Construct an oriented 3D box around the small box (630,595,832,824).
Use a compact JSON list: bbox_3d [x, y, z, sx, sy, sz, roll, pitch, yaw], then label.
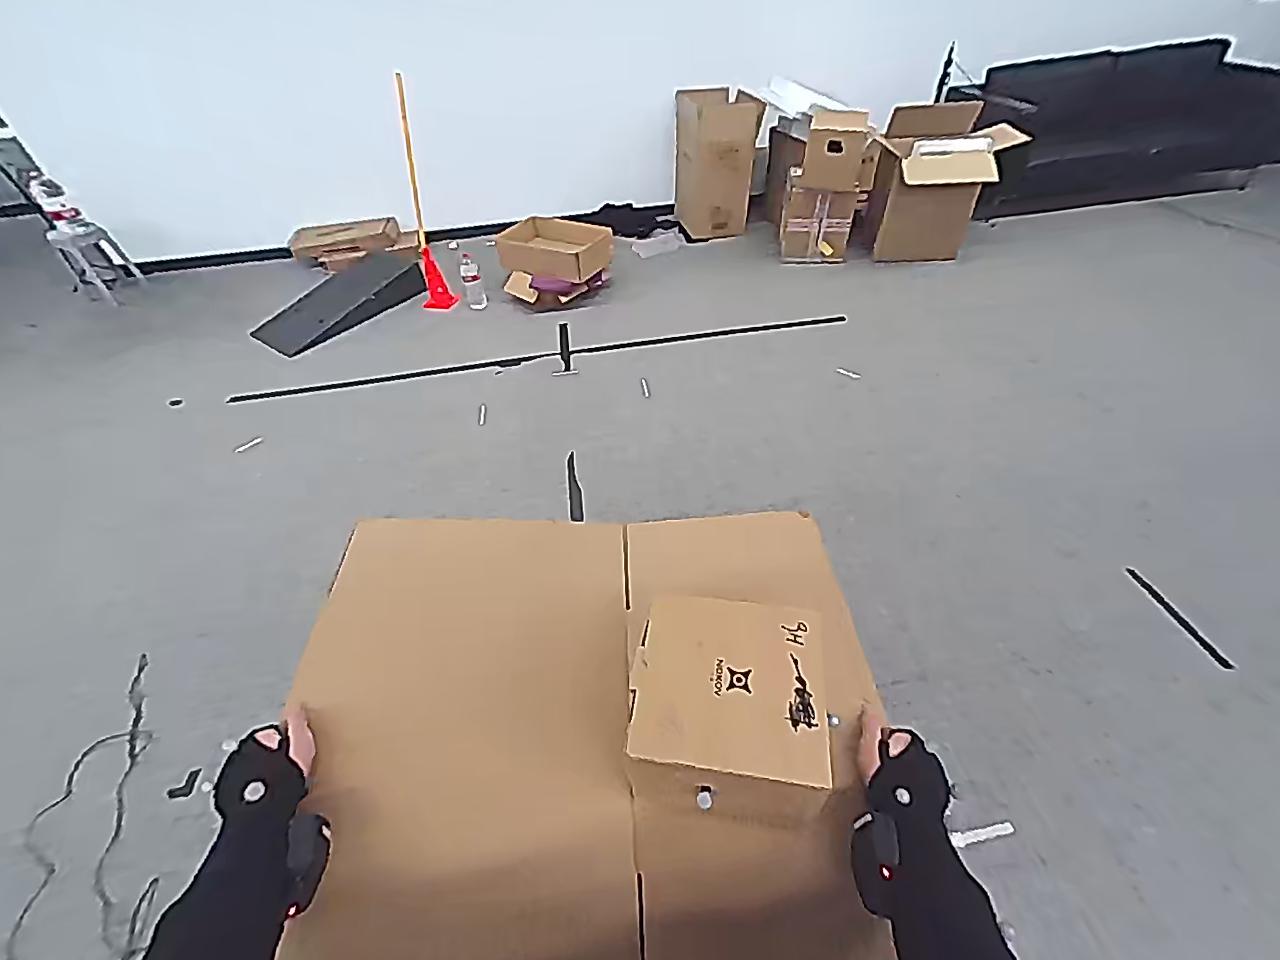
[{"bbox_3d":[0.097,0.243,0.574,0.179,0.176,0.168,3,47,10],"label":"small box"}]
